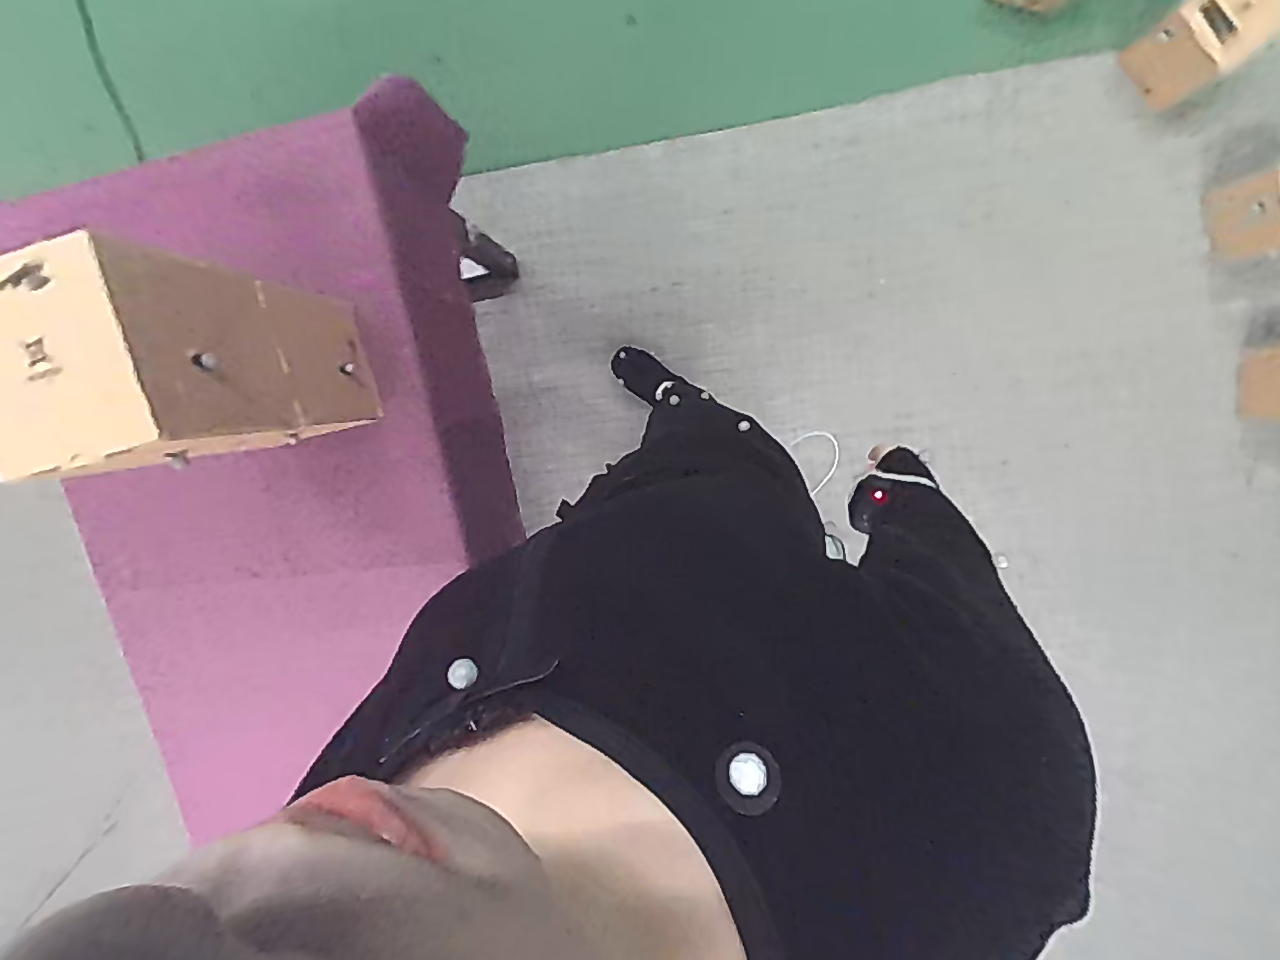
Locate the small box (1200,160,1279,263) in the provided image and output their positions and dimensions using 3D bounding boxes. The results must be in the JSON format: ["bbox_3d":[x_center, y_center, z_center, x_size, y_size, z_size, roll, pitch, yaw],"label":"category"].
[{"bbox_3d":[1.410,-0.609,1.197,0.168,0.176,0.179,-19,98,7],"label":"small box"}]

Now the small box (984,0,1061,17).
[{"bbox_3d":[0.877,-1.158,1.156,0.168,0.176,0.179,17,100,2],"label":"small box"}]

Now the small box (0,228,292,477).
[{"bbox_3d":[-0.486,-0.116,0.528,0.168,0.176,0.179,-13,98,6],"label":"small box"}]

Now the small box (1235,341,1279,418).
[{"bbox_3d":[1.541,-0.236,1.246,0.168,0.176,0.179,-7,99,5],"label":"small box"}]

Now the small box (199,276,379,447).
[{"bbox_3d":[-0.476,-0.140,0.691,0.179,0.176,0.168,-13,98,6],"label":"small box"}]
